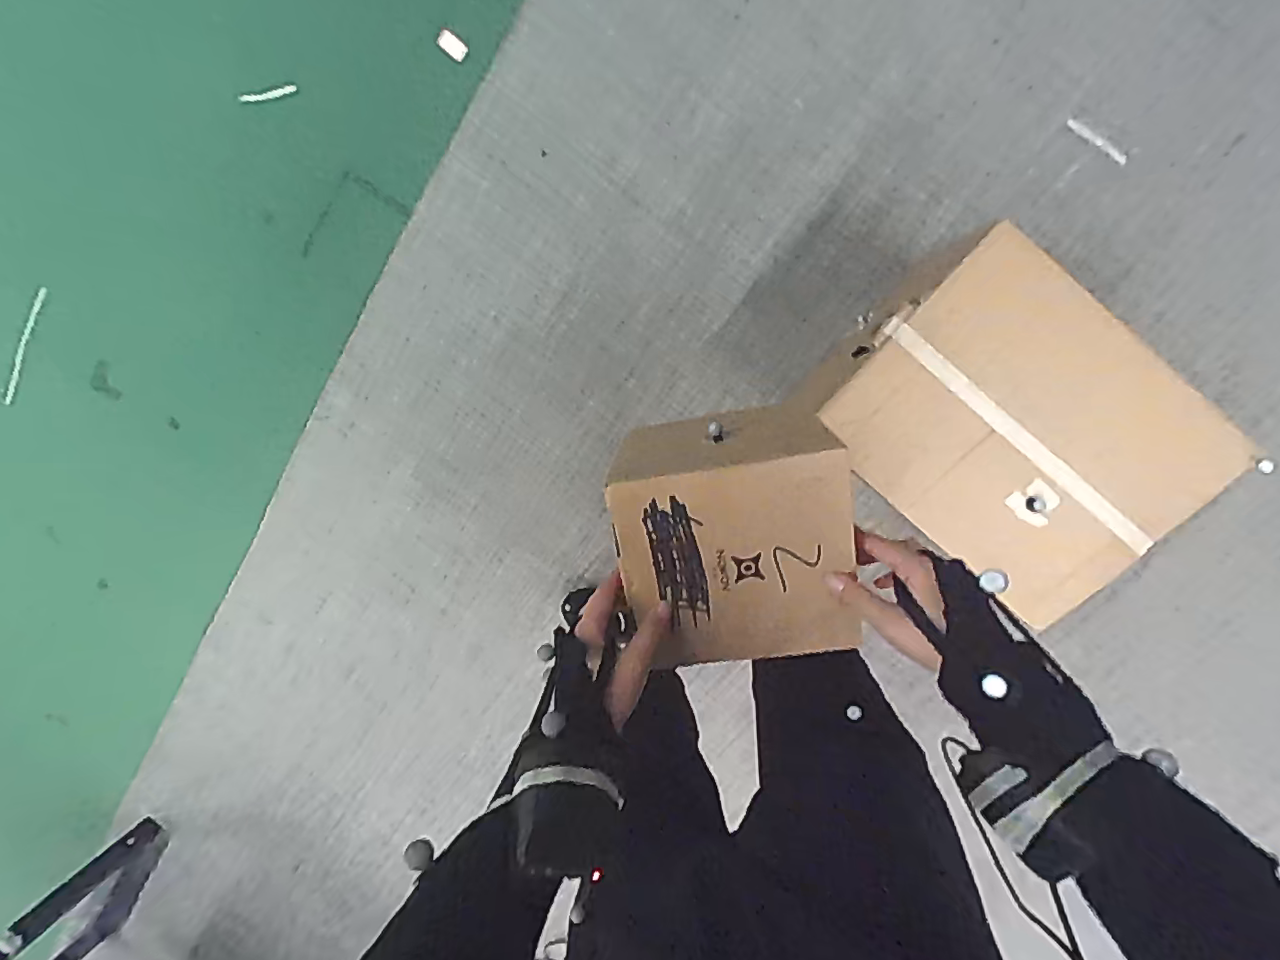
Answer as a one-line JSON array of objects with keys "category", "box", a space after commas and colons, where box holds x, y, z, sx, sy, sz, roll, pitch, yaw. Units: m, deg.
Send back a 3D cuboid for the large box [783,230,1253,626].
[{"category": "large box", "box": [0.476, -0.080, 0.792, 0.408, 0.320, 0.320, 41, 106, -2]}]
